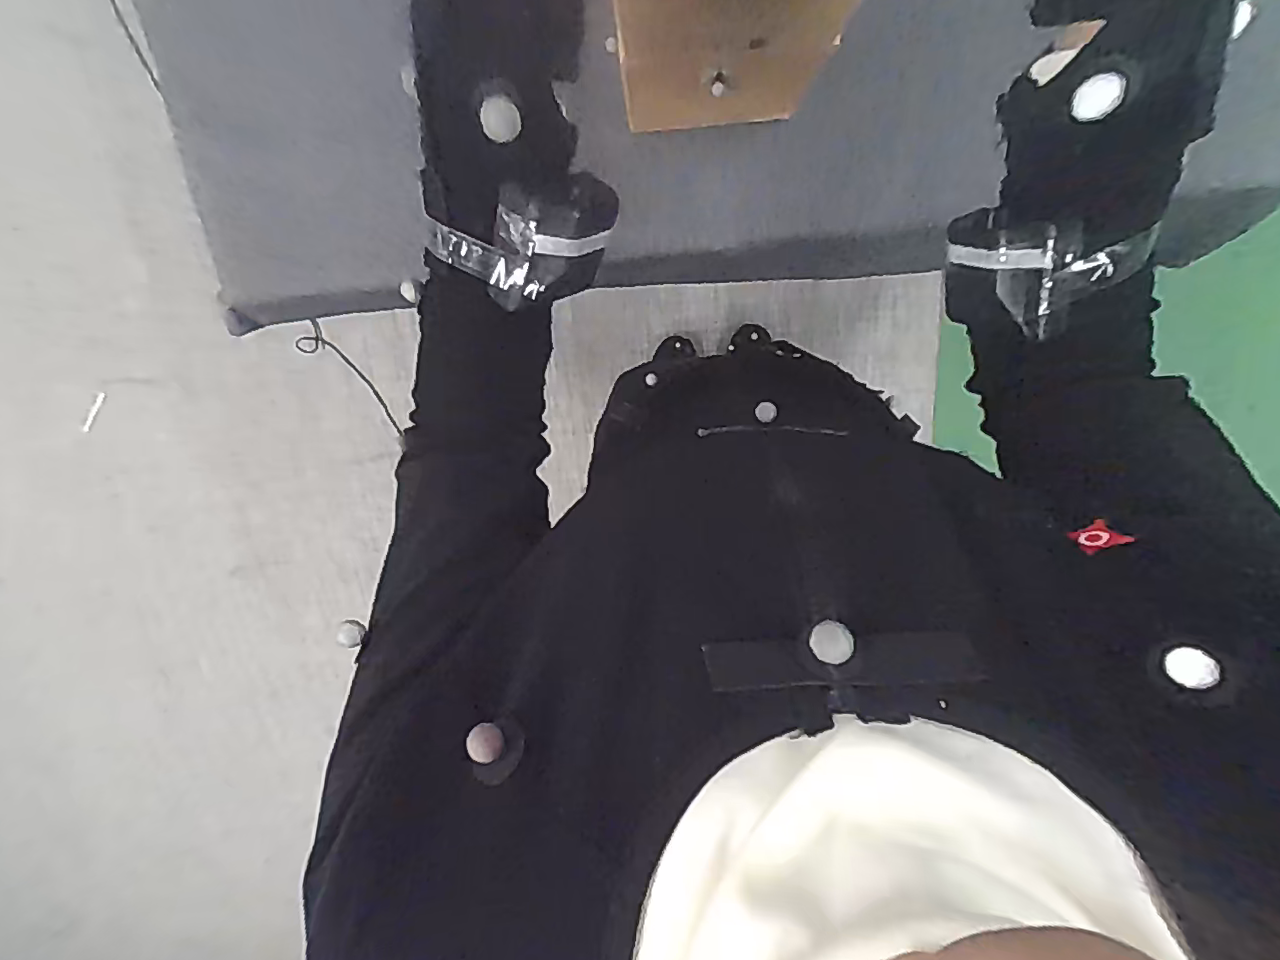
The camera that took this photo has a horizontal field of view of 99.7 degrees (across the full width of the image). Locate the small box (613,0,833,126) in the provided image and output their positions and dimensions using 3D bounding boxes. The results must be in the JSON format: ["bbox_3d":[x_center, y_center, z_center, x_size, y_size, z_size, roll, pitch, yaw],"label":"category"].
[{"bbox_3d":[0.066,-0.445,0.491,0.179,0.176,0.168,-4,107,3],"label":"small box"}]

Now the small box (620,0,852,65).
[{"bbox_3d":[0.062,-0.403,0.337,0.168,0.176,0.179,-5,108,3],"label":"small box"}]
